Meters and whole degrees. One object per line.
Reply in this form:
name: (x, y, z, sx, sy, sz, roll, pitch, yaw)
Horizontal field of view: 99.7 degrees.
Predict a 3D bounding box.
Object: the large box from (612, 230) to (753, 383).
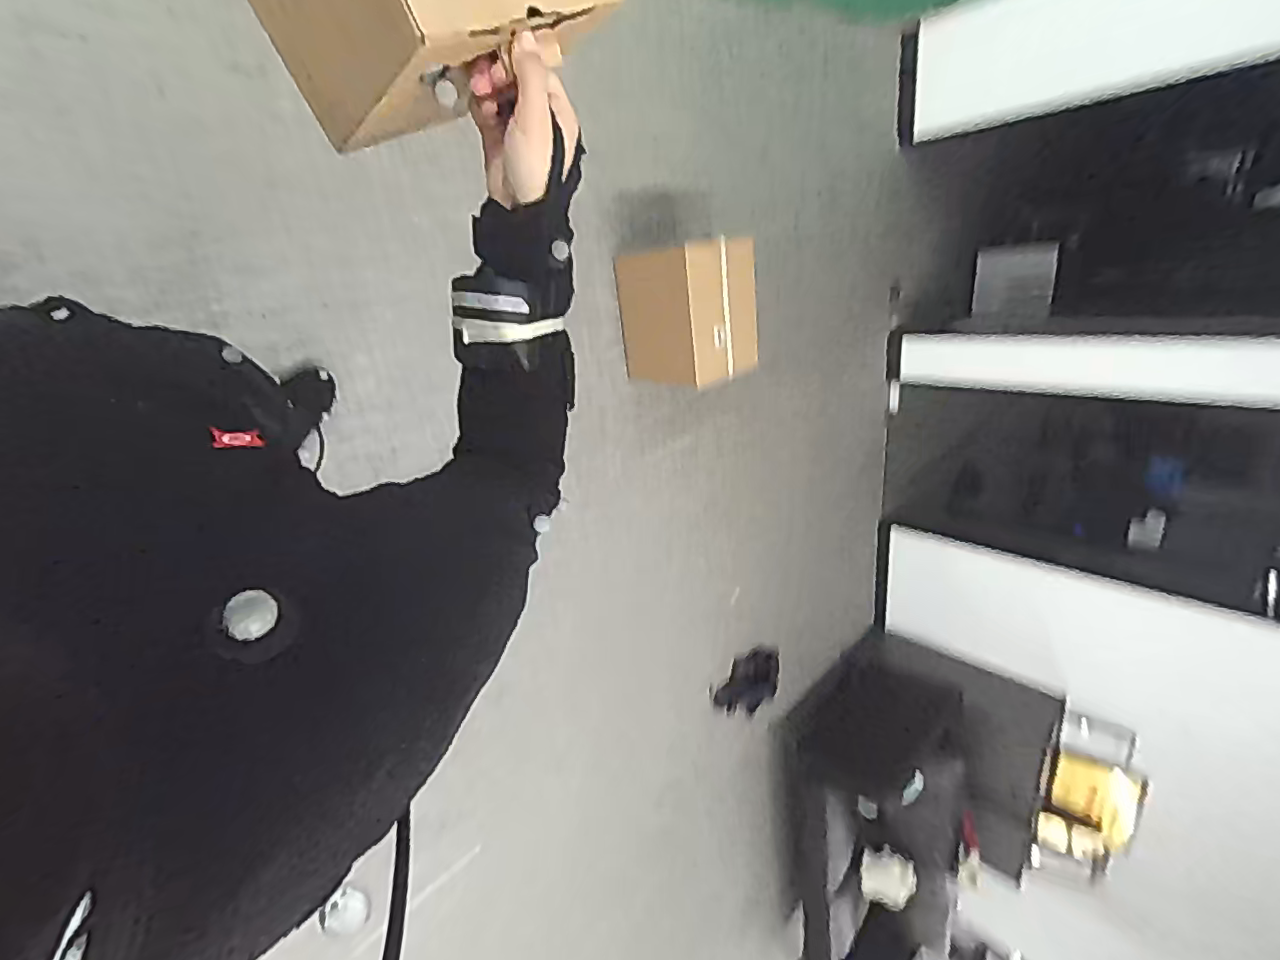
large box: (0.142, -0.559, 1.734, 0.320, 0.320, 0.408, -26, 120, -36)
